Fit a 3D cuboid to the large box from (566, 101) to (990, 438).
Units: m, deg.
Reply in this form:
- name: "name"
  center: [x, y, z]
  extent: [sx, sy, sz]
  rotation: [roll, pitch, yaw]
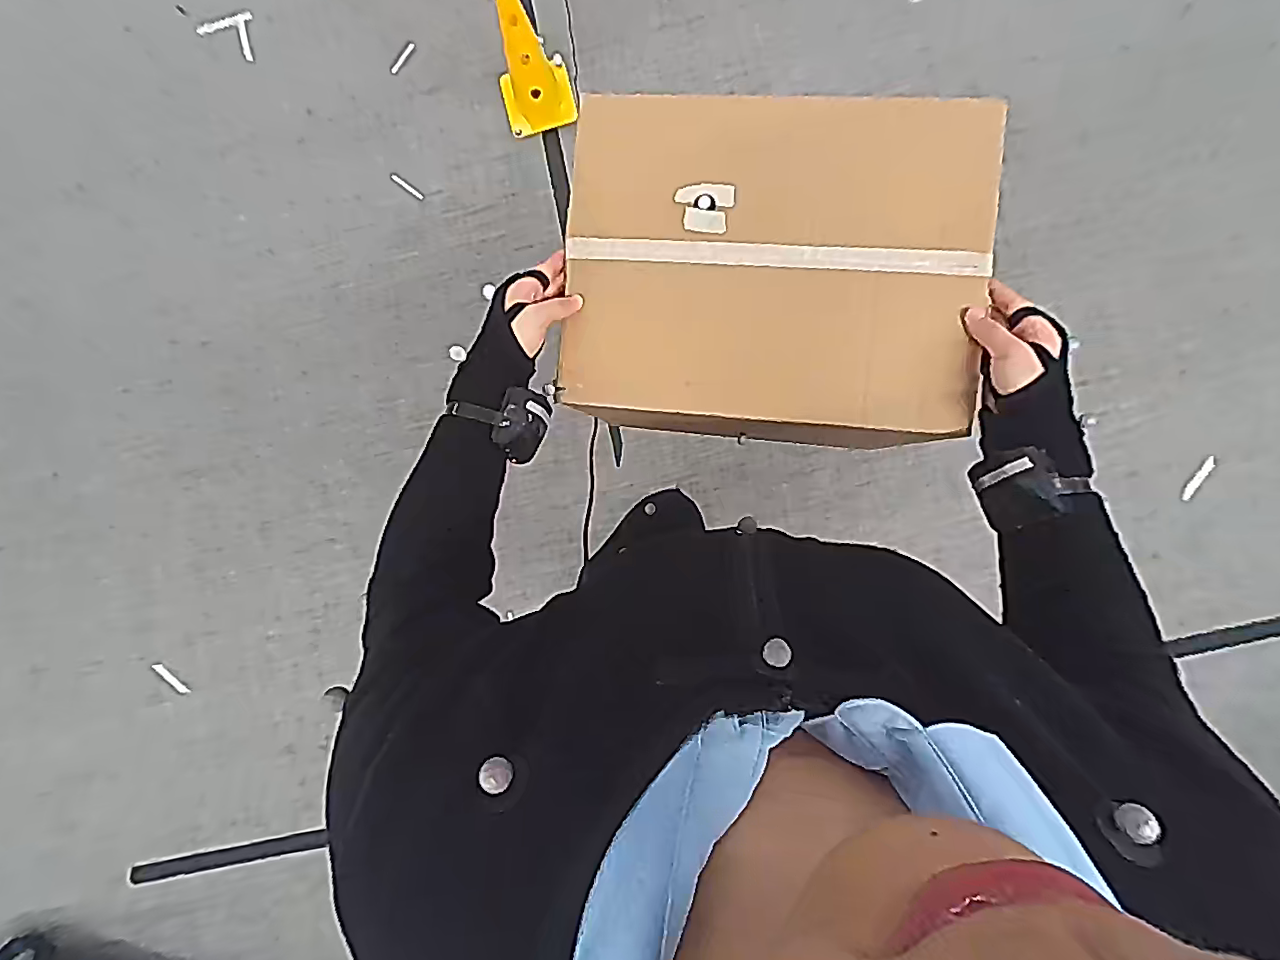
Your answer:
- name: "large box"
  center: [0.149, -0.223, 0.688]
  extent: [0.408, 0.320, 0.320]
  rotation: [5, 91, 7]
